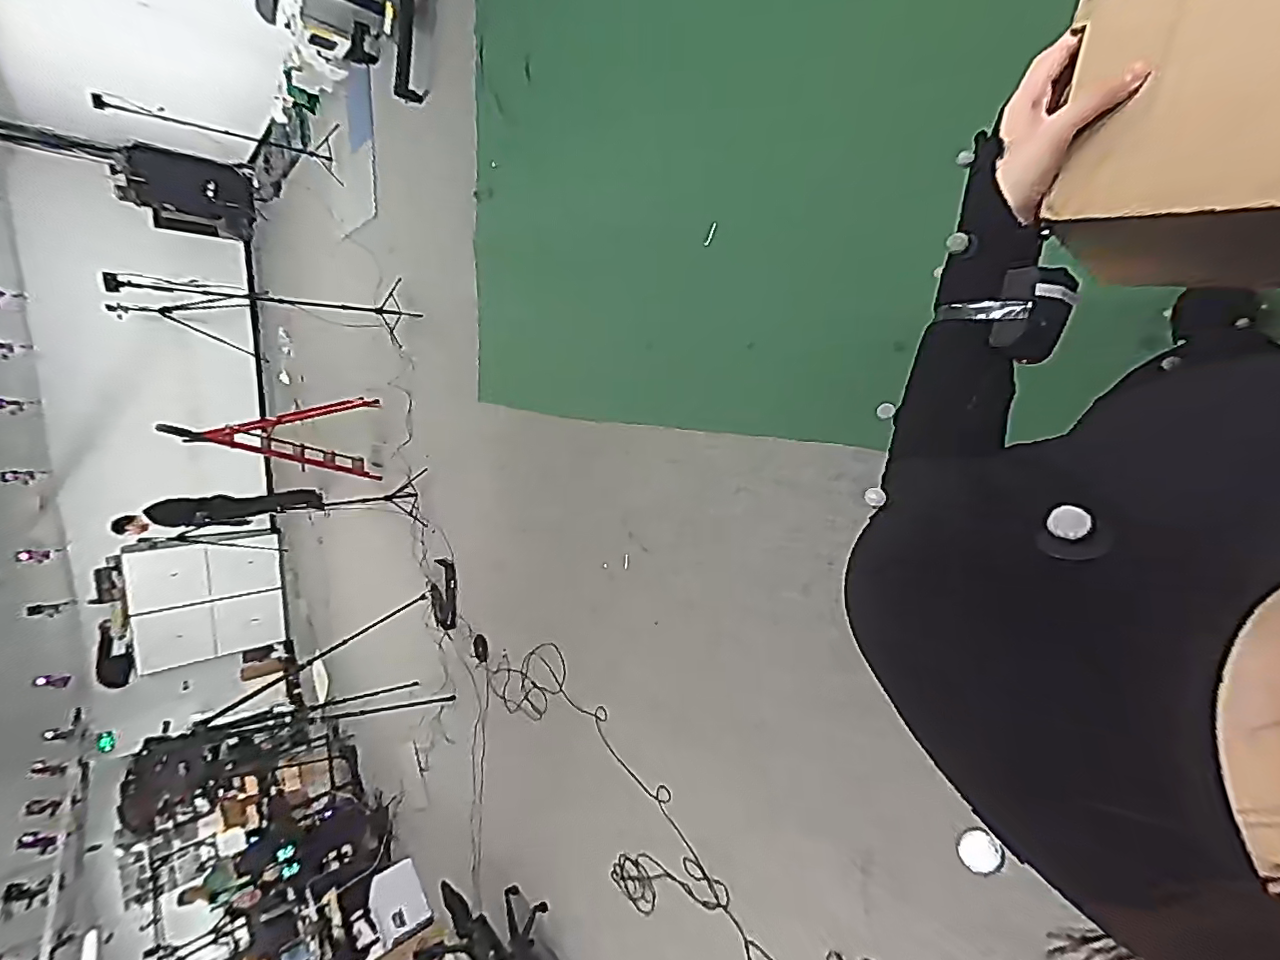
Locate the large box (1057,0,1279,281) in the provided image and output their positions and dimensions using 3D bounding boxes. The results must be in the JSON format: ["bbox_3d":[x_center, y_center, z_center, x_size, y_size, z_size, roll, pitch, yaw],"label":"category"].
[{"bbox_3d":[0.568,-0.319,0.348,0.408,0.320,0.320,19,109,41],"label":"large box"}]
